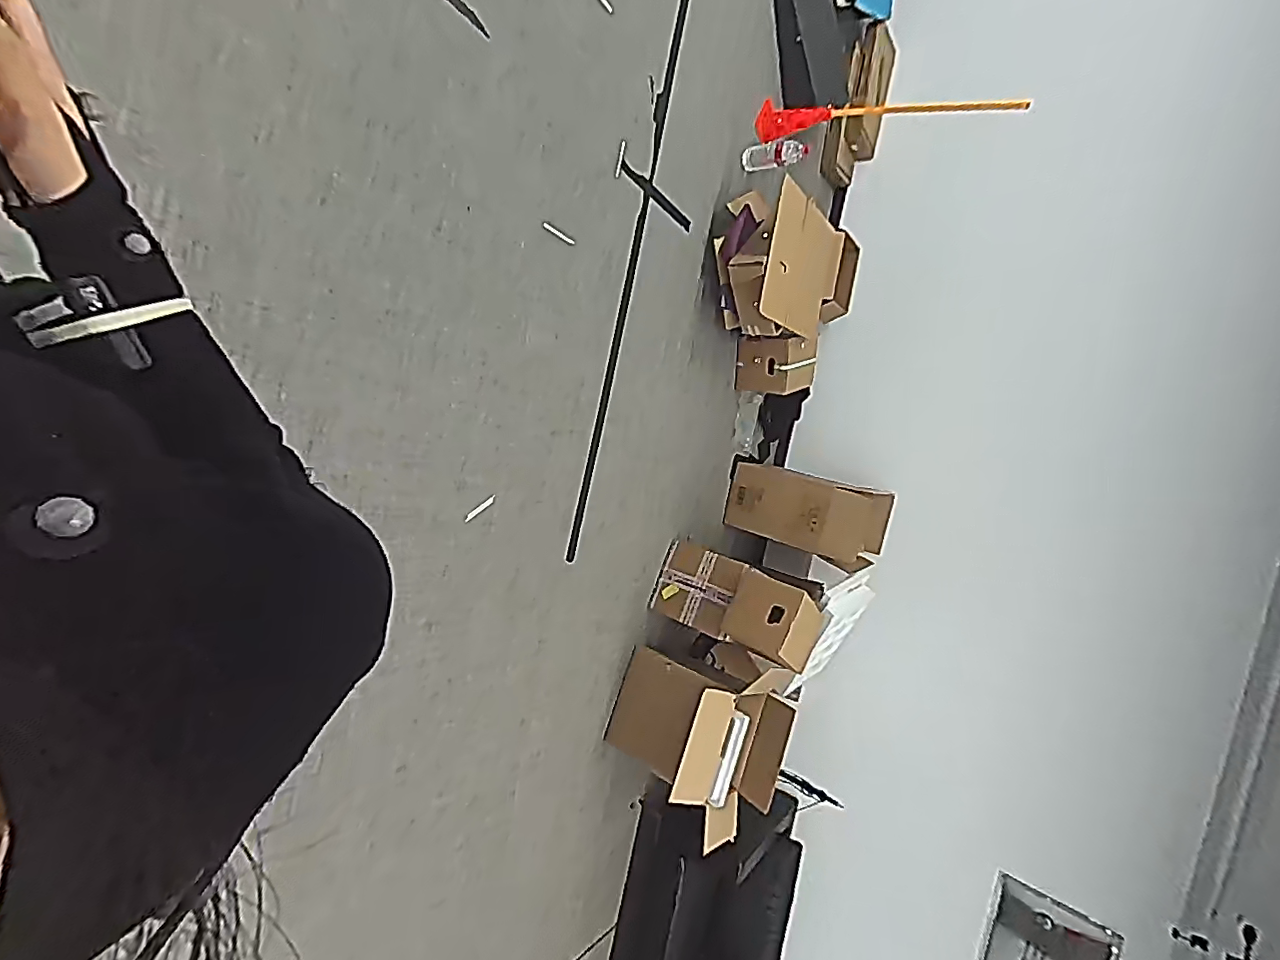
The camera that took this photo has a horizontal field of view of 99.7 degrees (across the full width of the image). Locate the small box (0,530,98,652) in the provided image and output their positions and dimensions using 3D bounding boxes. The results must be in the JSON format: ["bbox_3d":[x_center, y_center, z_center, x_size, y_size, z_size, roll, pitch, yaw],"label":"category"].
[{"bbox_3d":[-1.154,0.201,1.002,0.179,0.176,0.168,-12,111,-52],"label":"small box"}]
